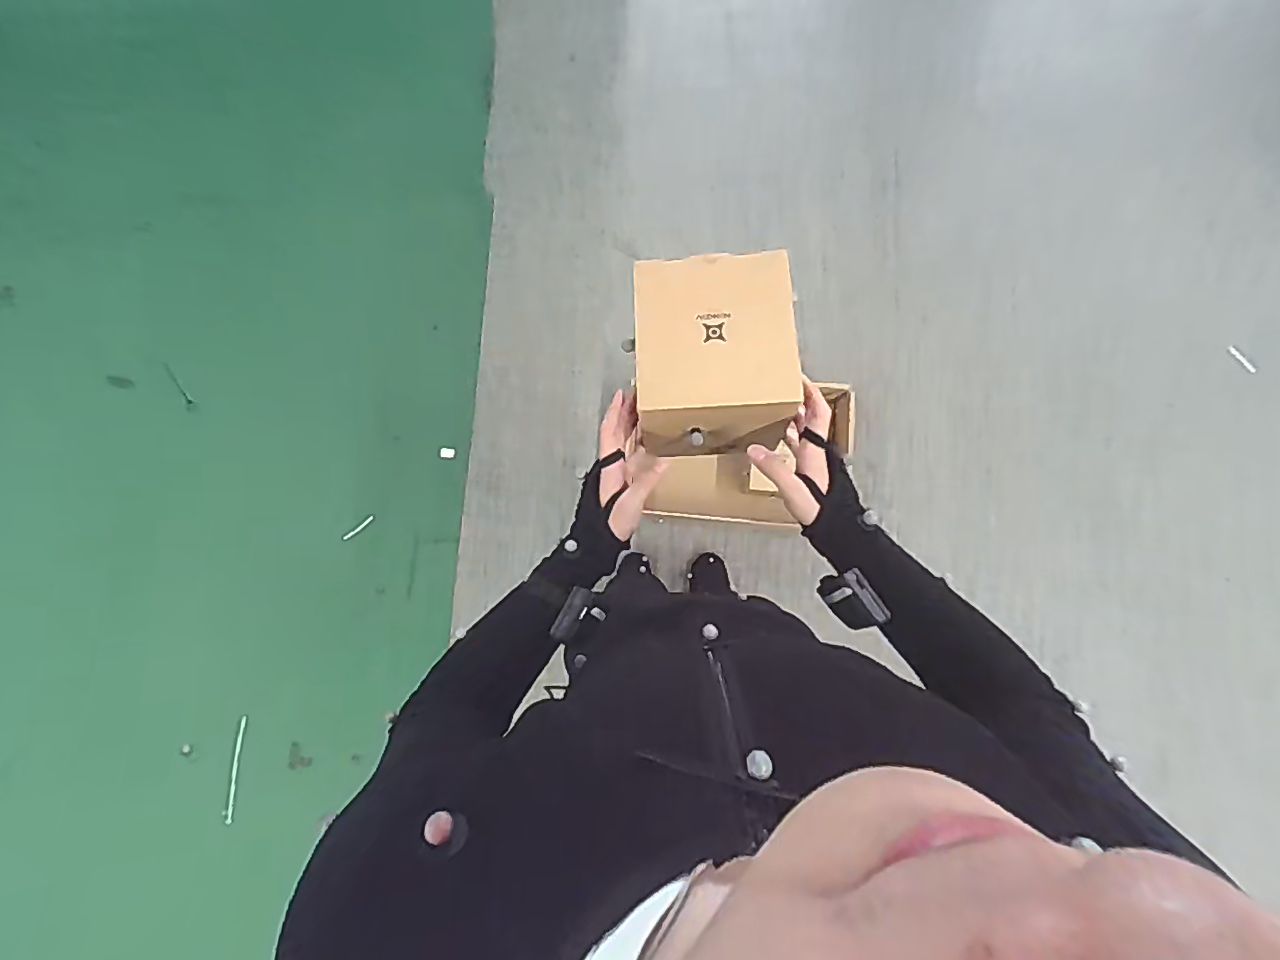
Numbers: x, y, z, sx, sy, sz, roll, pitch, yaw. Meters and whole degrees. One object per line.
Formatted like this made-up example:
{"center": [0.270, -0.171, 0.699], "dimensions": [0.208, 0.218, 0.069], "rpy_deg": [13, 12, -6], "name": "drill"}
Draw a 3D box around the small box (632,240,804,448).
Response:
{"center": [0.082, -0.140, 0.621], "dimensions": [0.168, 0.176, 0.179], "rpy_deg": [-3, 75, 4], "name": "small box"}
